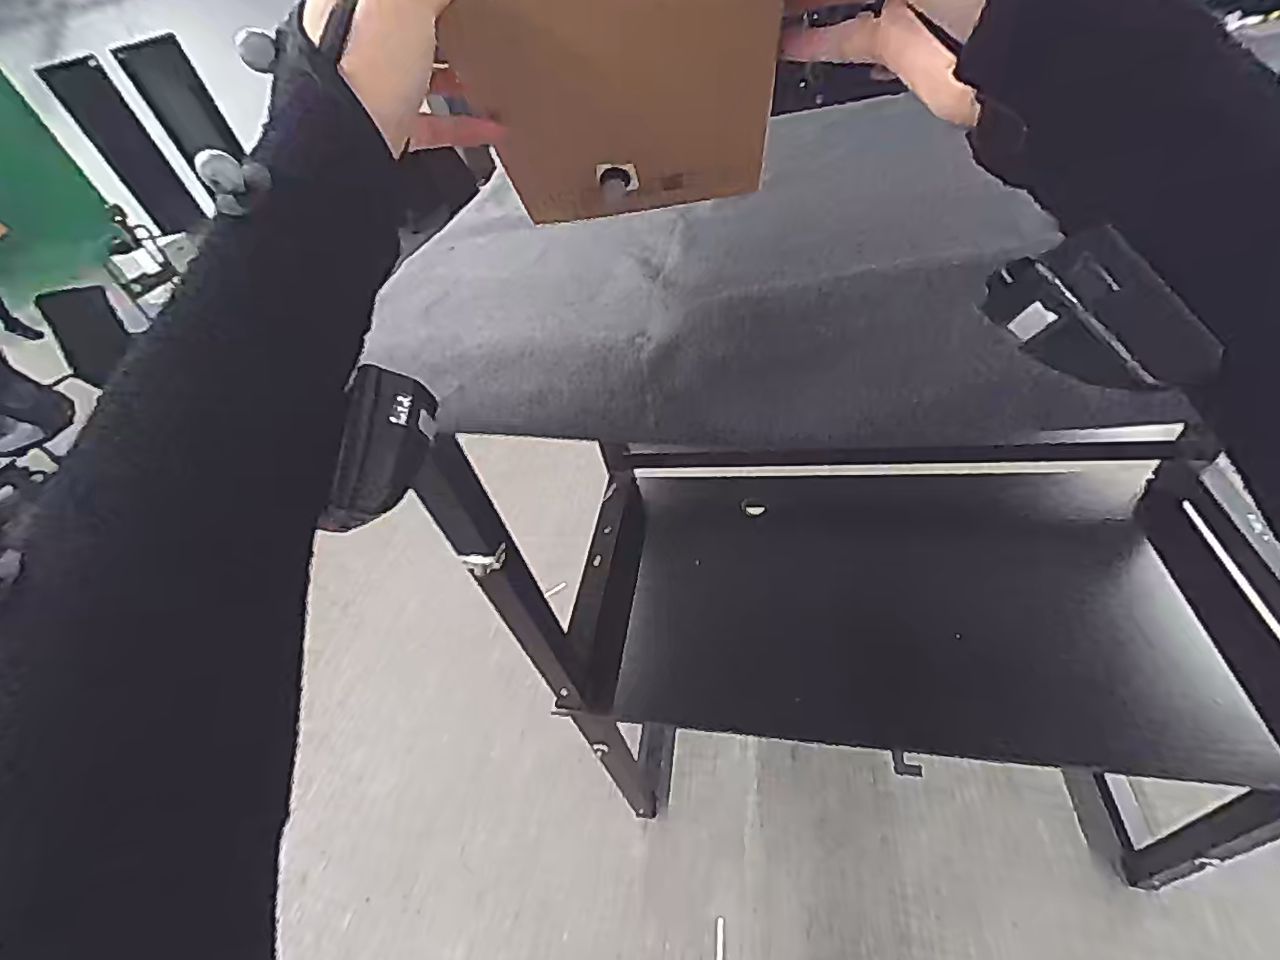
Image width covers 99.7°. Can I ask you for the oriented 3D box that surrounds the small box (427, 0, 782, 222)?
[{"bbox_3d":[-0.016,-0.289,0.317,0.168,0.176,0.179,-6,79,7],"label":"small box"}]
